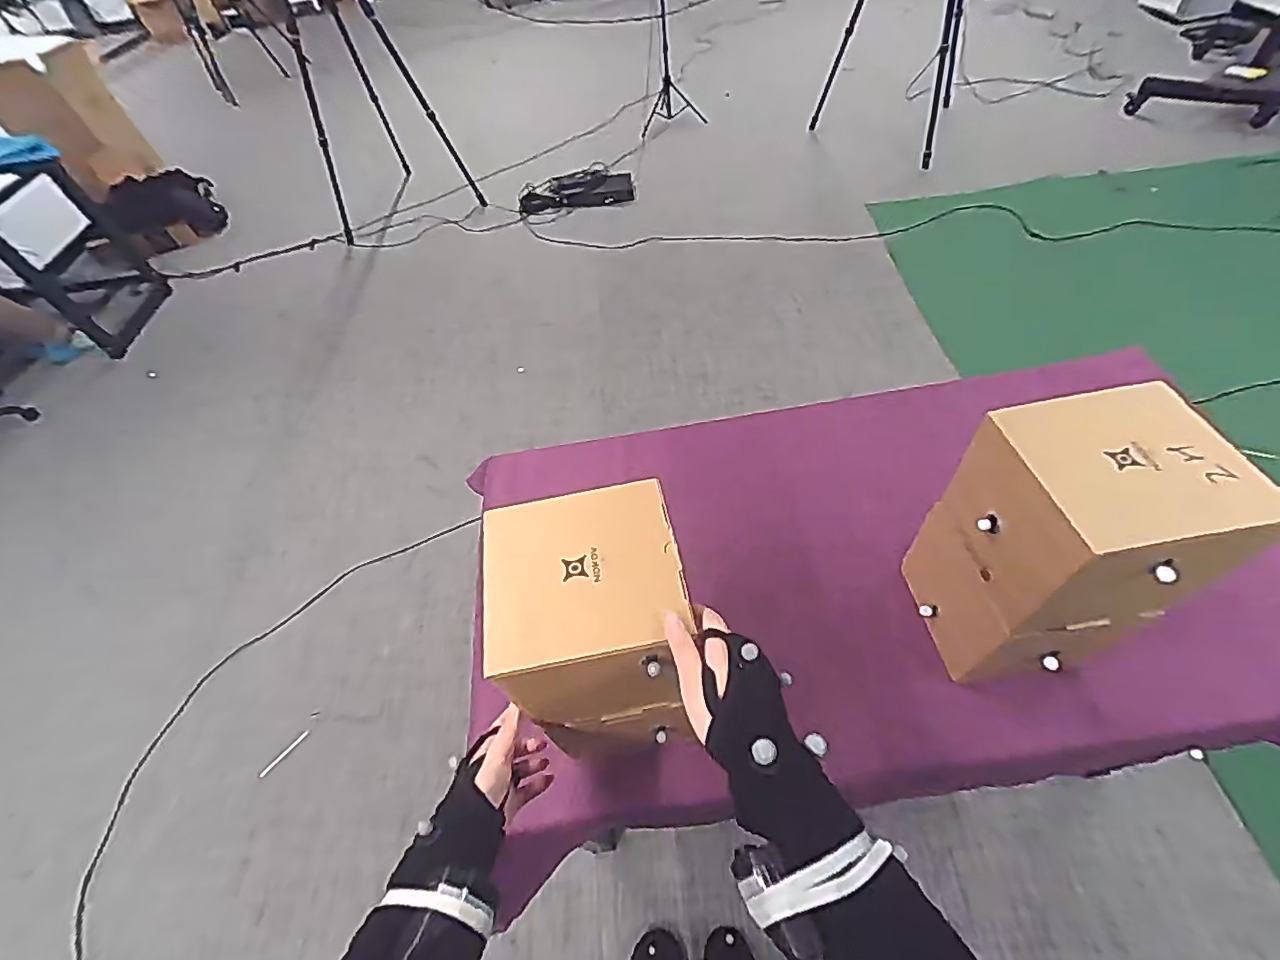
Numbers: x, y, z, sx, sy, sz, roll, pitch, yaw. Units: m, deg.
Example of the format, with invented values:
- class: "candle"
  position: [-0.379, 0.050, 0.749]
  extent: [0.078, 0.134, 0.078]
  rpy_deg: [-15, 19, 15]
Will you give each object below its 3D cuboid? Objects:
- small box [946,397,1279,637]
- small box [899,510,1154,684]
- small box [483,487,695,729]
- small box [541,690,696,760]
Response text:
- class: "small box"
  position: [0.441, 0.044, 0.546]
  extent: [0.179, 0.176, 0.168]
  rpy_deg: [-9, 52, 0]
- class: "small box"
  position: [0.456, 0.144, 0.677]
  extent: [0.168, 0.176, 0.179]
  rpy_deg: [-8, 52, 1]
- class: "small box"
  position: [-0.046, 0.134, 0.544]
  extent: [0.179, 0.176, 0.168]
  rpy_deg: [-10, 52, -3]
- class: "small box"
  position: [-0.025, 0.233, 0.672]
  extent: [0.168, 0.176, 0.179]
  rpy_deg: [-9, 51, -1]
